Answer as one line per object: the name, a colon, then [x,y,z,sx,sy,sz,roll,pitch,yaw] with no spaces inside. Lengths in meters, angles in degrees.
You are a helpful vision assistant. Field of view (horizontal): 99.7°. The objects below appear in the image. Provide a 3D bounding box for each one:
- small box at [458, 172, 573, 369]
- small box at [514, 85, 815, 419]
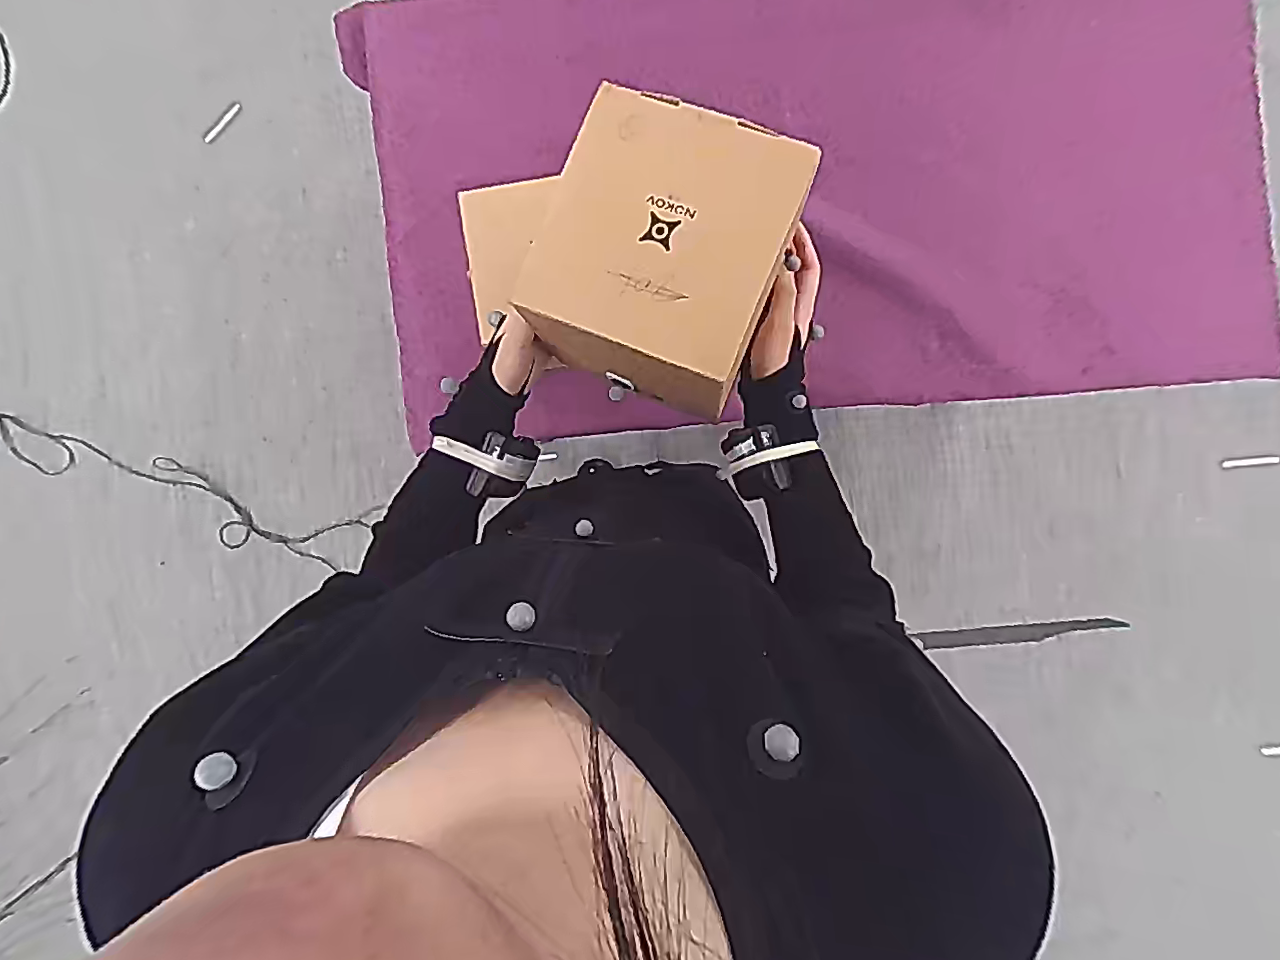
small box: [-0.111,-0.253,0.683,0.168,0.176,0.179,-9,91,1]
small box: [0.023,-0.170,0.456,0.168,0.176,0.179,22,89,8]
